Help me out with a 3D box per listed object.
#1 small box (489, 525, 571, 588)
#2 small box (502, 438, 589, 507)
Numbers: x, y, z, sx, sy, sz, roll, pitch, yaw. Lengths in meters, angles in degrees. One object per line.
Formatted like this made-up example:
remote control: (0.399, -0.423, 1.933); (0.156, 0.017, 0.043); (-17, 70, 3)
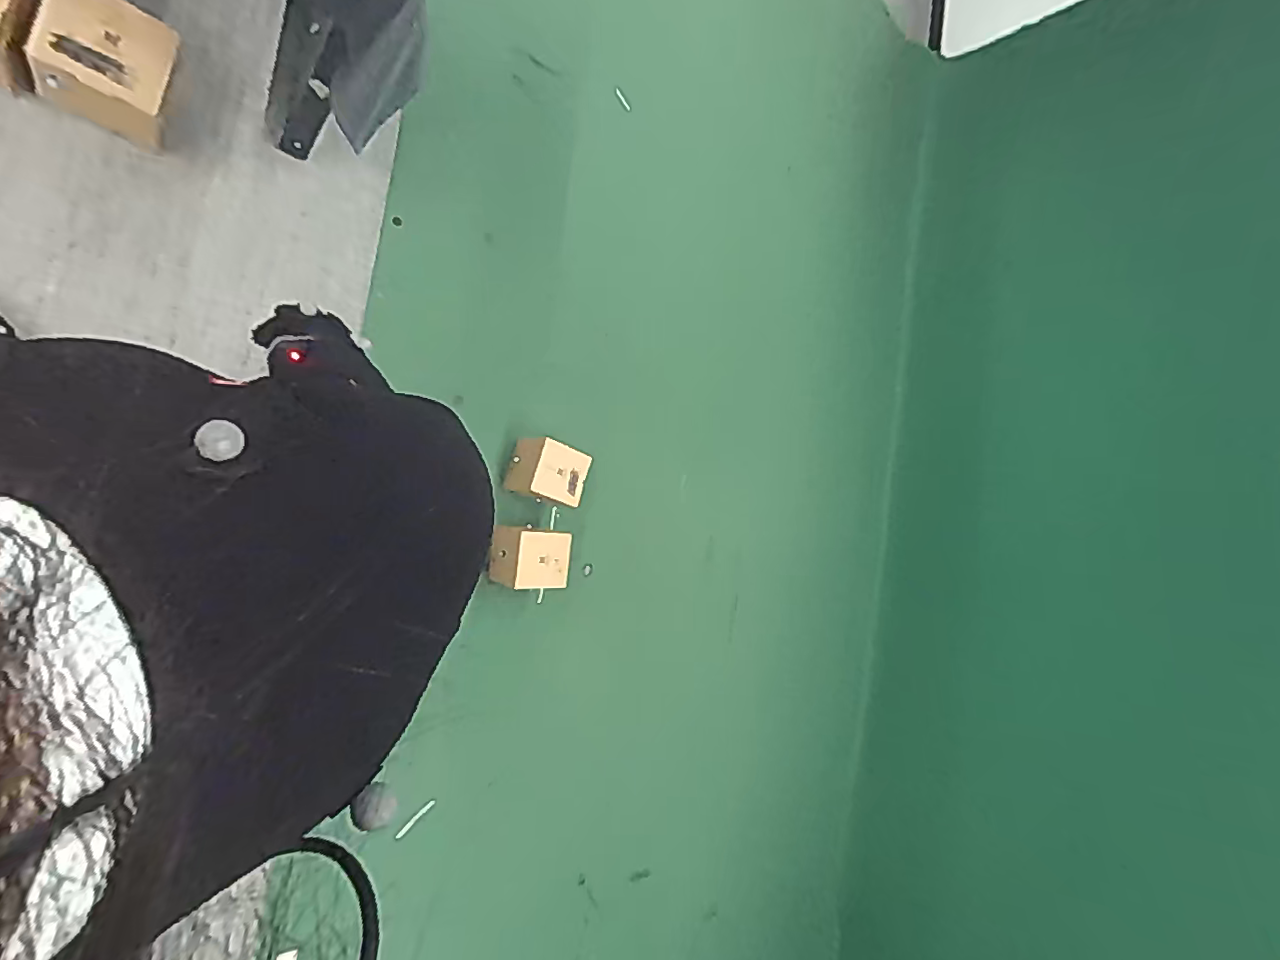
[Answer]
small box: (-0.335, 0.229, 1.630); (0.179, 0.176, 0.168); (9, 87, -43)
small box: (-0.291, -0.024, 1.661); (0.179, 0.176, 0.168); (25, 75, -39)
